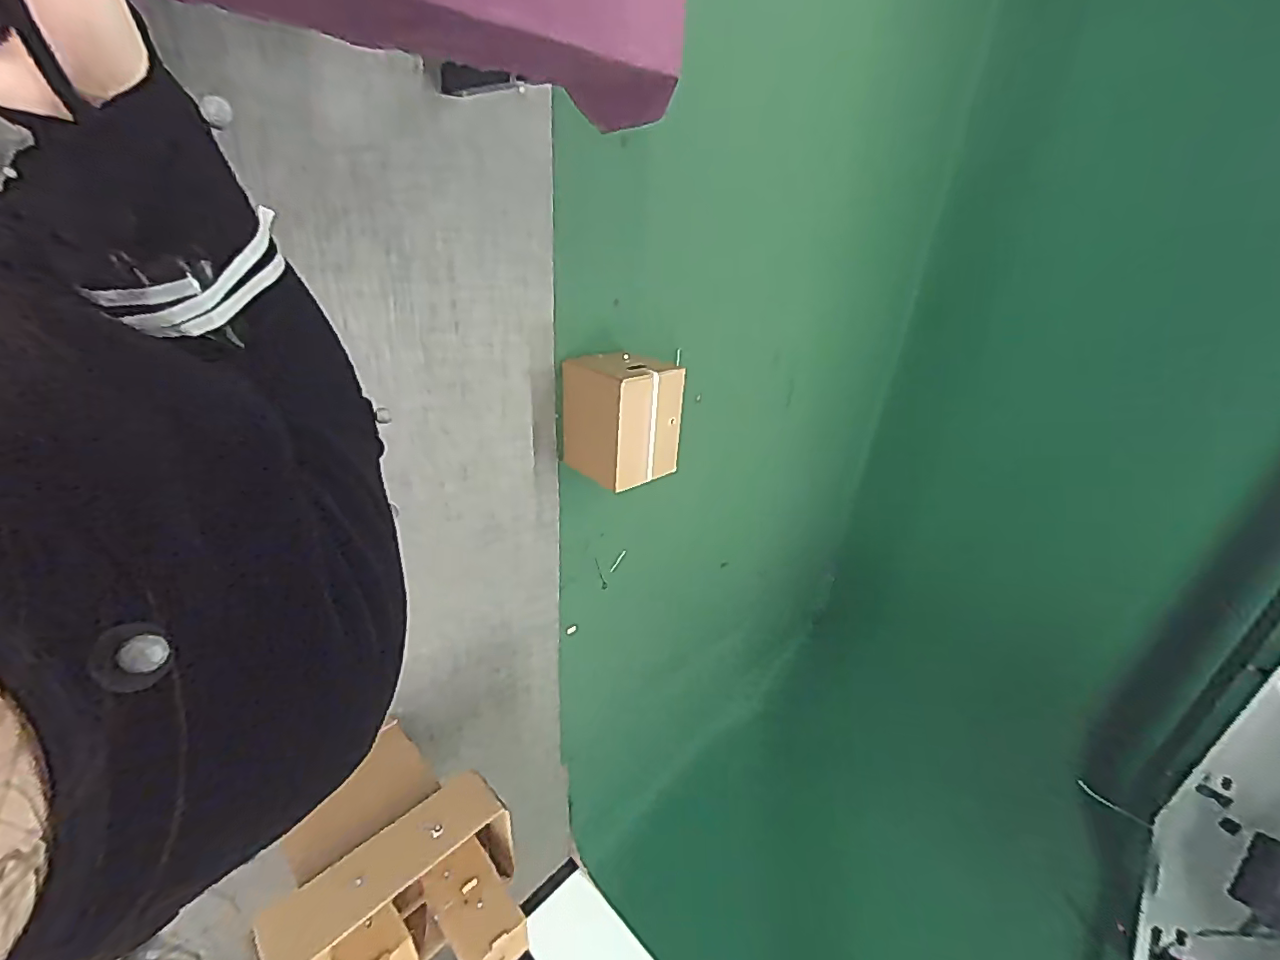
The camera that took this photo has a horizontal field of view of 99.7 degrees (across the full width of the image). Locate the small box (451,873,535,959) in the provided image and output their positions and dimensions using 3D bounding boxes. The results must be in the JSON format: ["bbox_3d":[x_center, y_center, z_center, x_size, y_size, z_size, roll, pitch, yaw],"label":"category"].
[{"bbox_3d":[-0.415,1.271,1.529,0.168,0.176,0.179,-22,127,-39],"label":"small box"}]

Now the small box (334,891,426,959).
[{"bbox_3d":[-0.707,1.283,1.475,0.168,0.176,0.179,-24,127,-40],"label":"small box"}]
